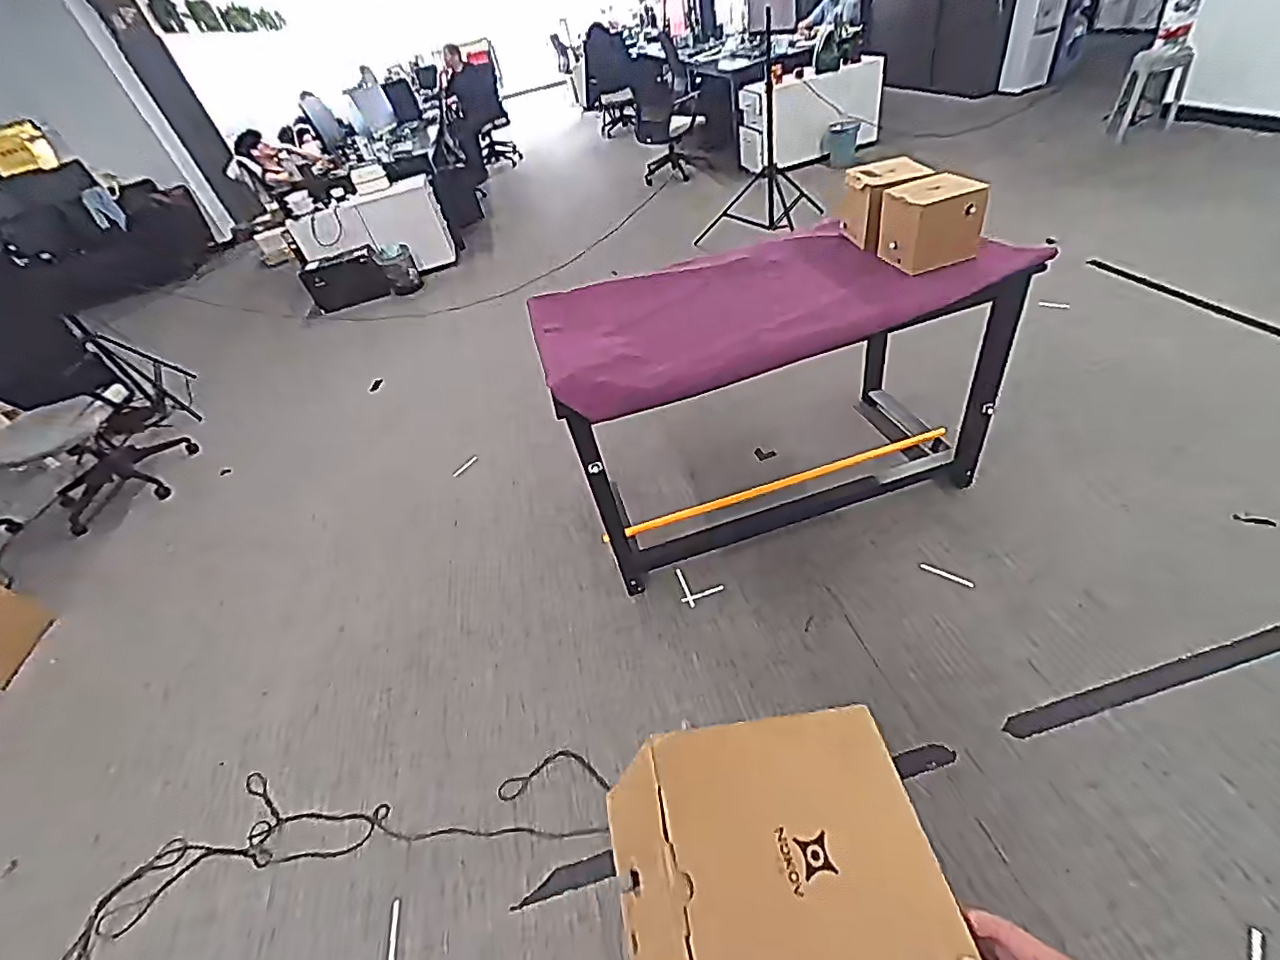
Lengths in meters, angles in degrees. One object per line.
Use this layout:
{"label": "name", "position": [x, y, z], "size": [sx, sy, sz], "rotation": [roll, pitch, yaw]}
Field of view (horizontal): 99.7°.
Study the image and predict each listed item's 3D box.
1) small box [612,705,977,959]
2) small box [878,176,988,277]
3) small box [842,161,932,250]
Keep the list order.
{"label": "small box", "position": [0.088, 0.284, 0.397], "size": [0.179, 0.176, 0.168], "rotation": [-1, 50, -16]}
{"label": "small box", "position": [0.727, -0.638, 1.363], "size": [0.179, 0.176, 0.168], "rotation": [-17, 40, -2]}
{"label": "small box", "position": [0.679, -0.764, 1.512], "size": [0.179, 0.176, 0.168], "rotation": [-13, 44, 0]}
